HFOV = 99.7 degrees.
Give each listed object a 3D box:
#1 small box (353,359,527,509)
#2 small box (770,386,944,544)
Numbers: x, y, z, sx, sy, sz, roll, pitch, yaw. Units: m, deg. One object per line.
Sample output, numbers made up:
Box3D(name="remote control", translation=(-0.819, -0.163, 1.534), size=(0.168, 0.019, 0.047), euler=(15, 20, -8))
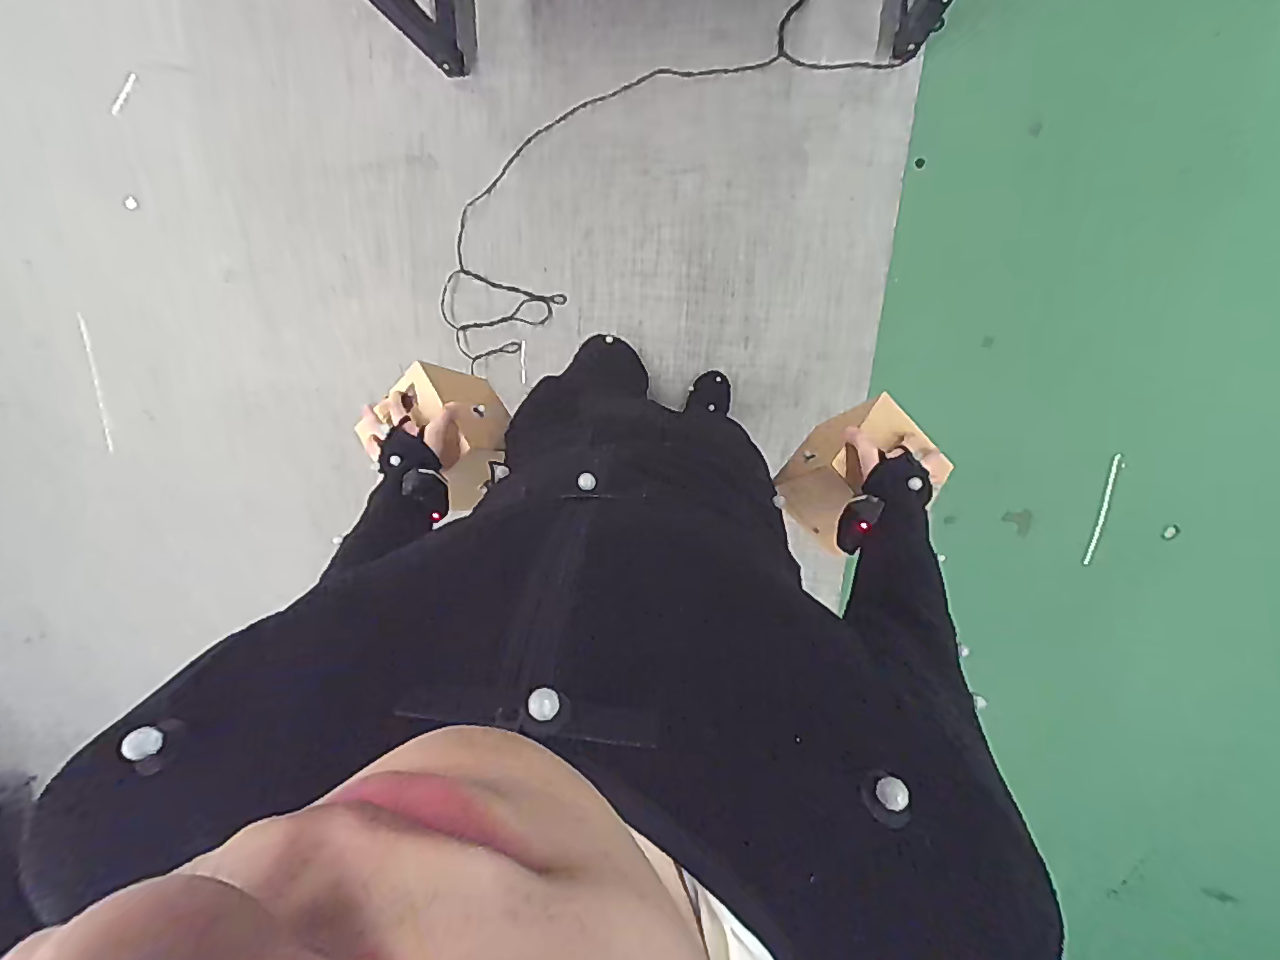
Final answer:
Box3D(name="small box", translation=(-0.324, -0.067, 0.896), size=(0.168, 0.176, 0.179), euler=(-40, 76, 17))
Box3D(name="small box", translation=(0.339, -0.014, 0.878), size=(0.168, 0.176, 0.179), euler=(45, 66, -5))
